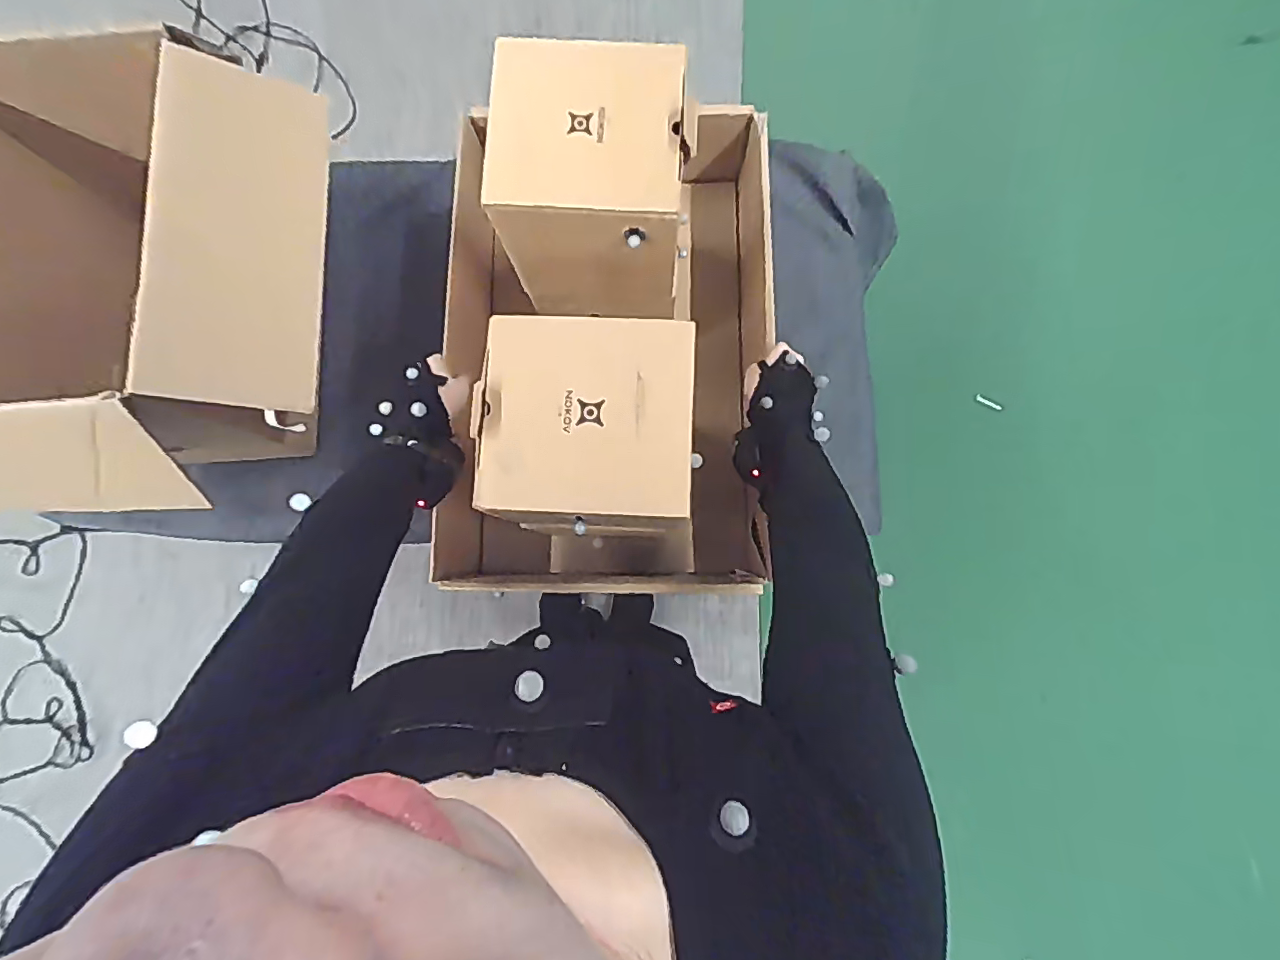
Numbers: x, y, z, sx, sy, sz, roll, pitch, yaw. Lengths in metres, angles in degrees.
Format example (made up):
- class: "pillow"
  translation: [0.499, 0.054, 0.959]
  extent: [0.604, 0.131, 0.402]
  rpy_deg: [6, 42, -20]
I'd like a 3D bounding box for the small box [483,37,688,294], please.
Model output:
- class: "small box"
  translation: [-0.047, -0.308, 0.561]
  extent: [0.179, 0.176, 0.168]
  rpy_deg: [3, 84, 0]
